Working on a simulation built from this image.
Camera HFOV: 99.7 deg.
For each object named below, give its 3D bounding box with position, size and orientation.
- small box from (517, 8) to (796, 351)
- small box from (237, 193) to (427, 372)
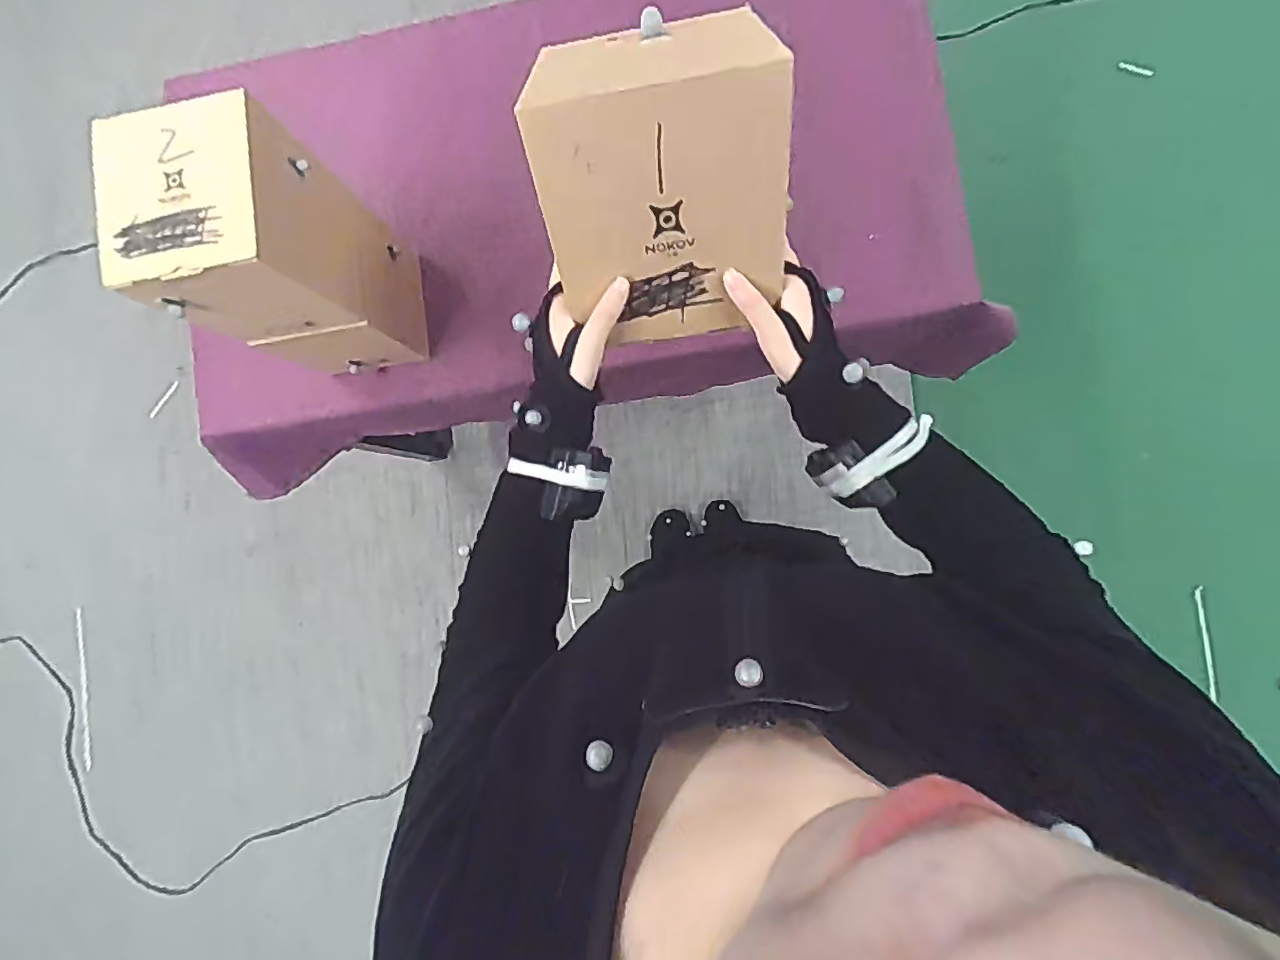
[{"bbox_3d":[0.018,-0.230,0.425,0.168,0.179,0.176,-6,49,6],"label":"small box"},{"bbox_3d":[-0.424,-0.268,0.769,0.168,0.176,0.179,-8,88,5],"label":"small box"}]
